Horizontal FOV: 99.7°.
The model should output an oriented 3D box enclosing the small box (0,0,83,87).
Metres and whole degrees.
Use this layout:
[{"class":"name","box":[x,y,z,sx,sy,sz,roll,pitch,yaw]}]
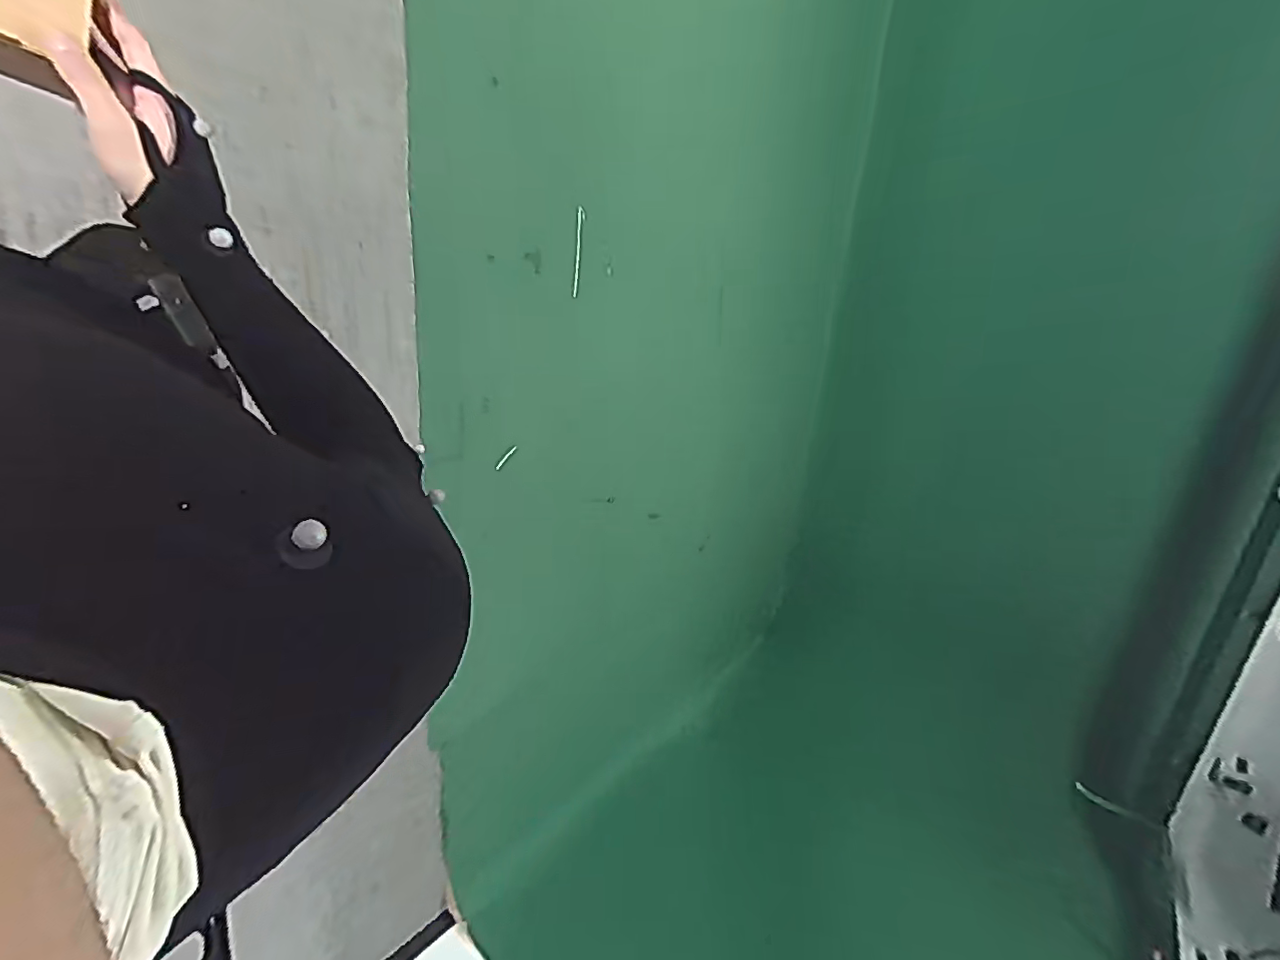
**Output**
[{"class":"small box","box":[-0.479,-0.399,0.349,0.168,0.176,0.179,3,106,-49]}]
